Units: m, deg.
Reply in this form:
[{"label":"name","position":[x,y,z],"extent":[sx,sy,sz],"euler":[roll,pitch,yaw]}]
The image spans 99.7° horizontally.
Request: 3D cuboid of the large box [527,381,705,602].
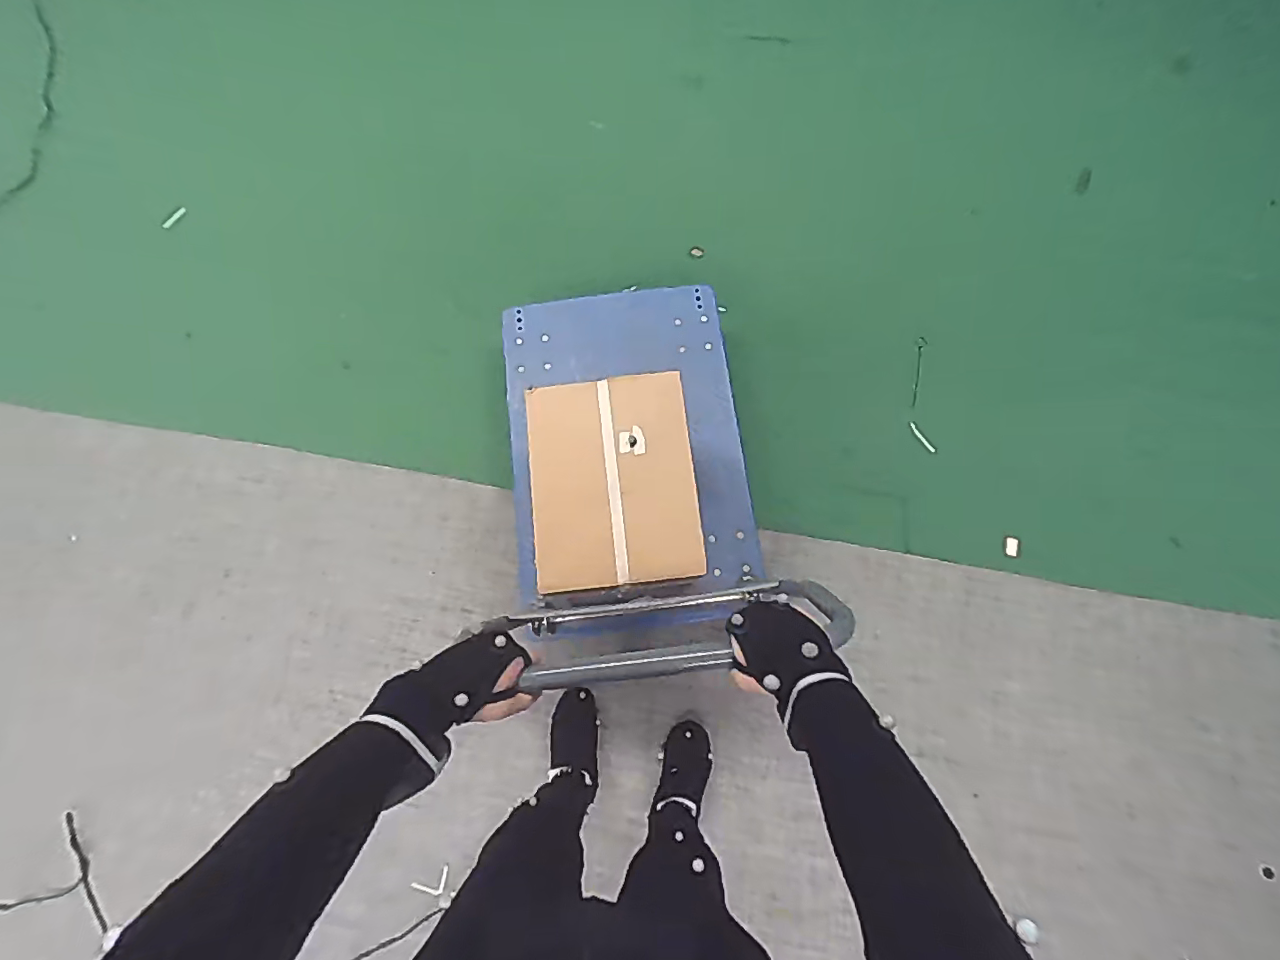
[{"label":"large box","position":[-0.048,0.044,1.194],"extent":[0.320,0.320,0.408],"euler":[-7,75,0]}]
